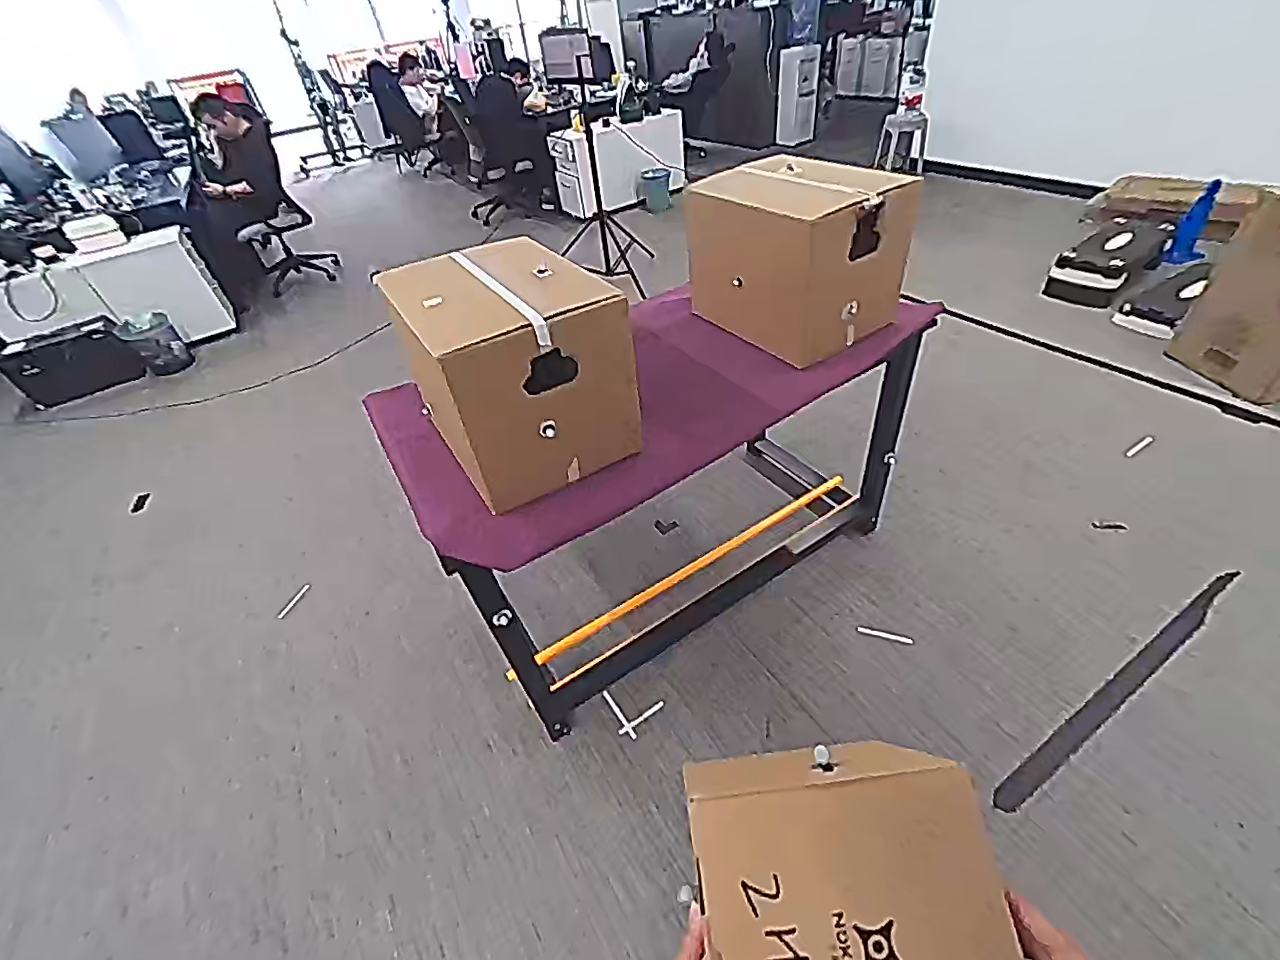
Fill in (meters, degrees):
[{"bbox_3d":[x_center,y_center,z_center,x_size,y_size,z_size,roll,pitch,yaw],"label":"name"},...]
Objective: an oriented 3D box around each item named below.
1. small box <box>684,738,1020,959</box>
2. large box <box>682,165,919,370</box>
[{"bbox_3d":[0.128,0.287,0.383,0.179,0.176,0.168,-8,68,1],"label":"small box"},{"bbox_3d":[0.350,-0.505,1.255,0.320,0.320,0.408,-27,44,-20],"label":"large box"}]
